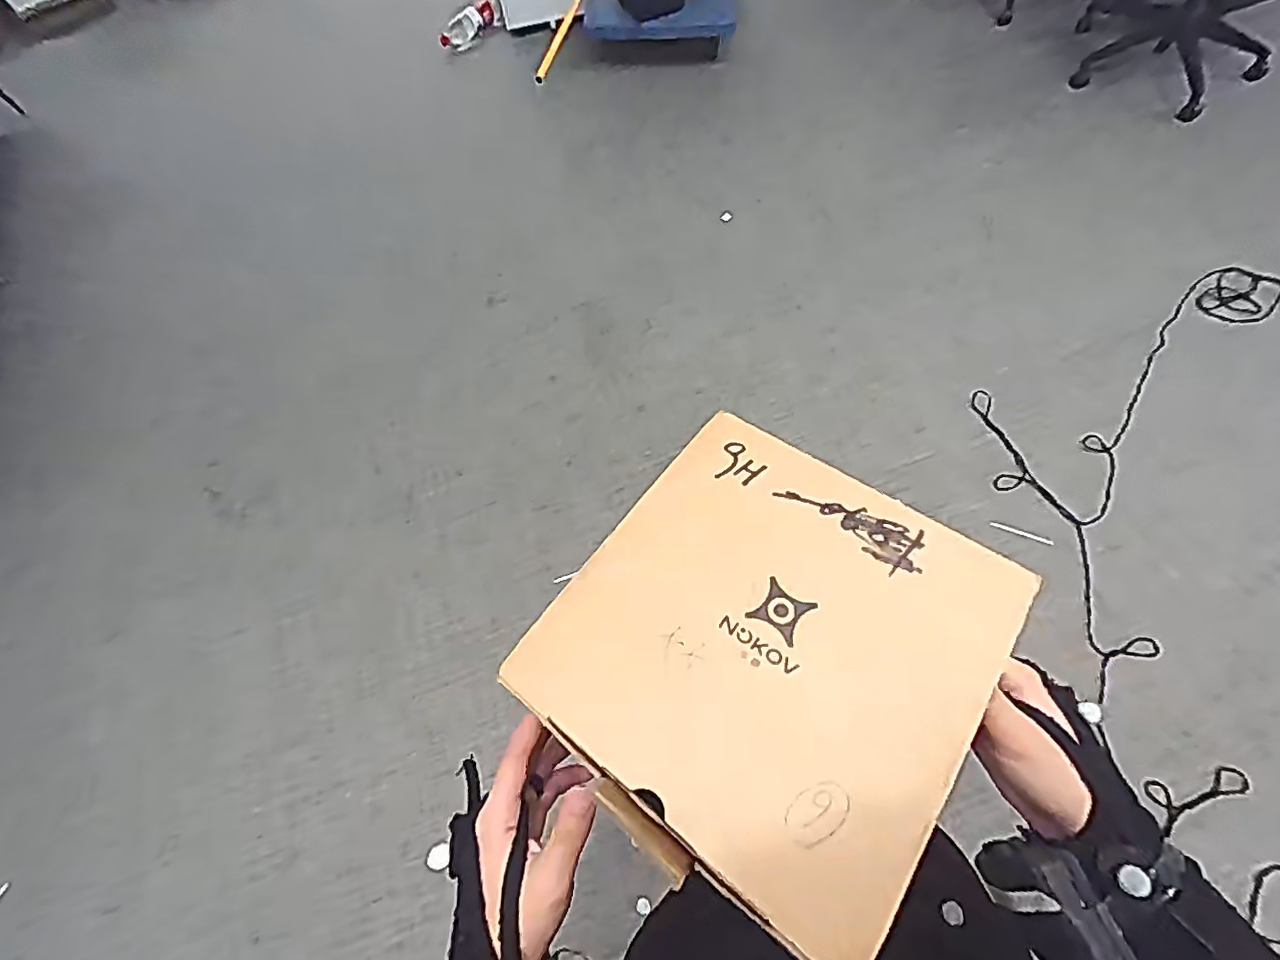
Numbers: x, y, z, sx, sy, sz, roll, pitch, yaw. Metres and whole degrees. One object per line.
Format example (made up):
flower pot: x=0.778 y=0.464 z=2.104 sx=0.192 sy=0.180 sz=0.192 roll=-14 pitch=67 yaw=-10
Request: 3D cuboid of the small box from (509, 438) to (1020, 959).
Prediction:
small box: x=0.063 y=0.117 z=0.308 sx=0.168 sy=0.176 sz=0.179 roll=32 pitch=66 yaw=22
